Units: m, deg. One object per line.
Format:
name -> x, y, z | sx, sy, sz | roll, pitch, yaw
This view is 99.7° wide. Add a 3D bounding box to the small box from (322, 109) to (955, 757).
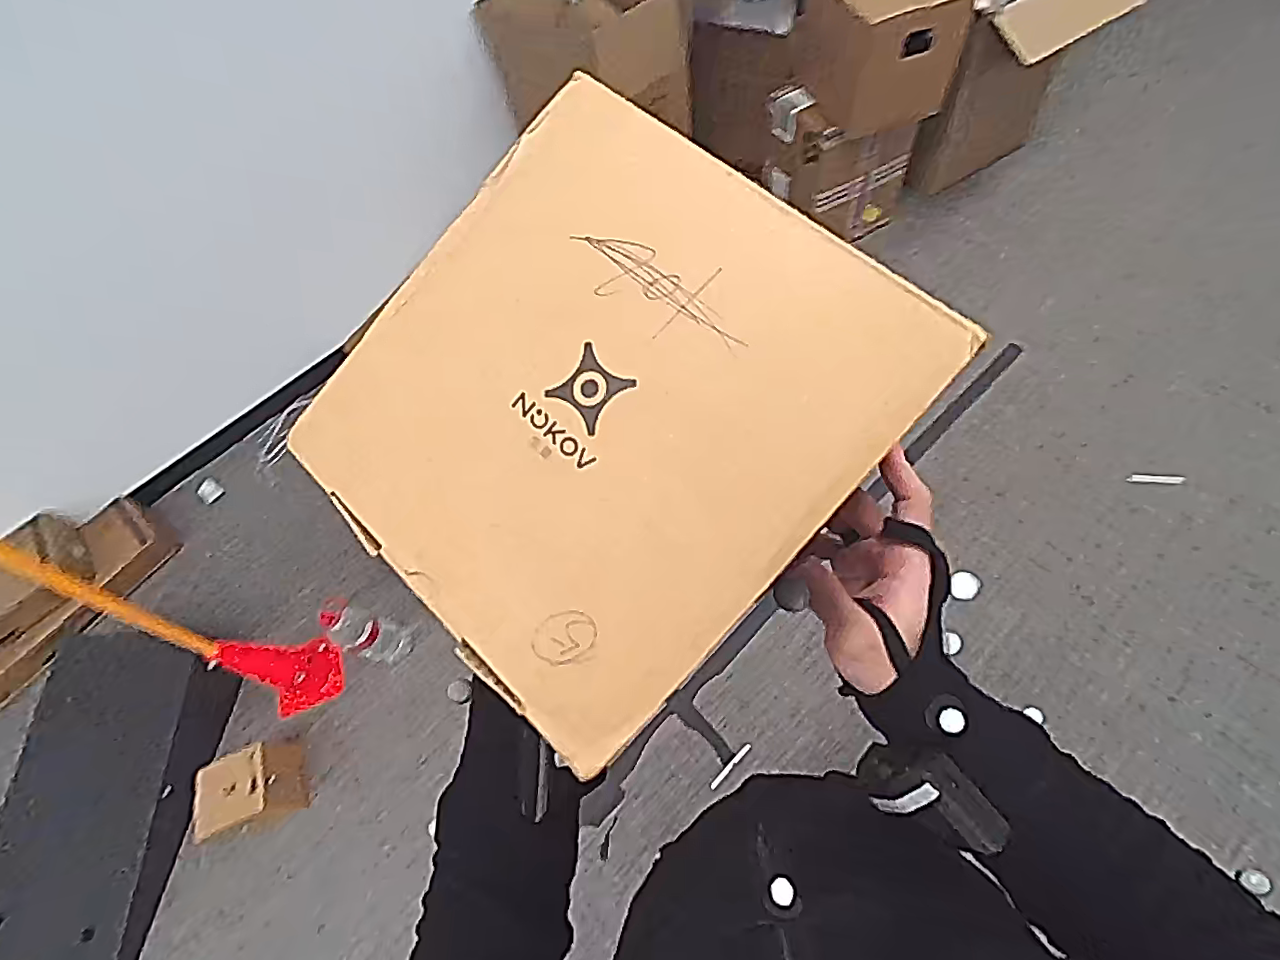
small box -> 0.004, -0.015, 0.266 | 0.168, 0.176, 0.179 | 42, 94, 15
